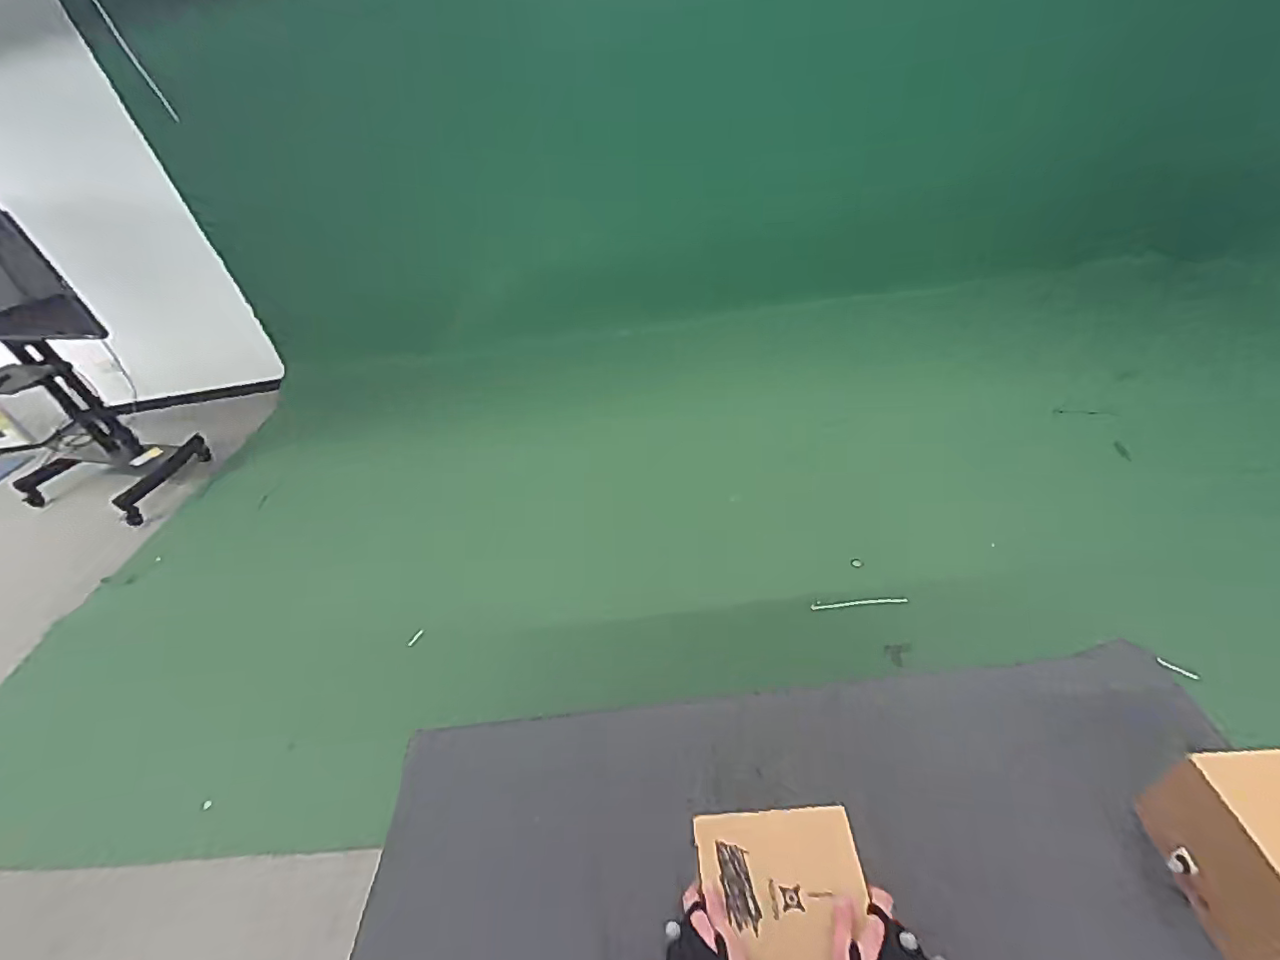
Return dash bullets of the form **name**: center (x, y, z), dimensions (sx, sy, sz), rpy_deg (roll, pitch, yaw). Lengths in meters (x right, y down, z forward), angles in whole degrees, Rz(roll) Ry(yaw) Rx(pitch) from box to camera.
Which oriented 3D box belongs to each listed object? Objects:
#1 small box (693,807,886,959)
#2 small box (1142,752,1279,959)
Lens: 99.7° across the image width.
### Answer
- **small box**: center (0.160, 0.494, 0.607), dimensions (0.179, 0.176, 0.168), rpy_deg (-7, 39, 5)
- **small box**: center (0.704, 0.407, 0.571), dimensions (0.179, 0.176, 0.168), rpy_deg (-8, 38, 7)
